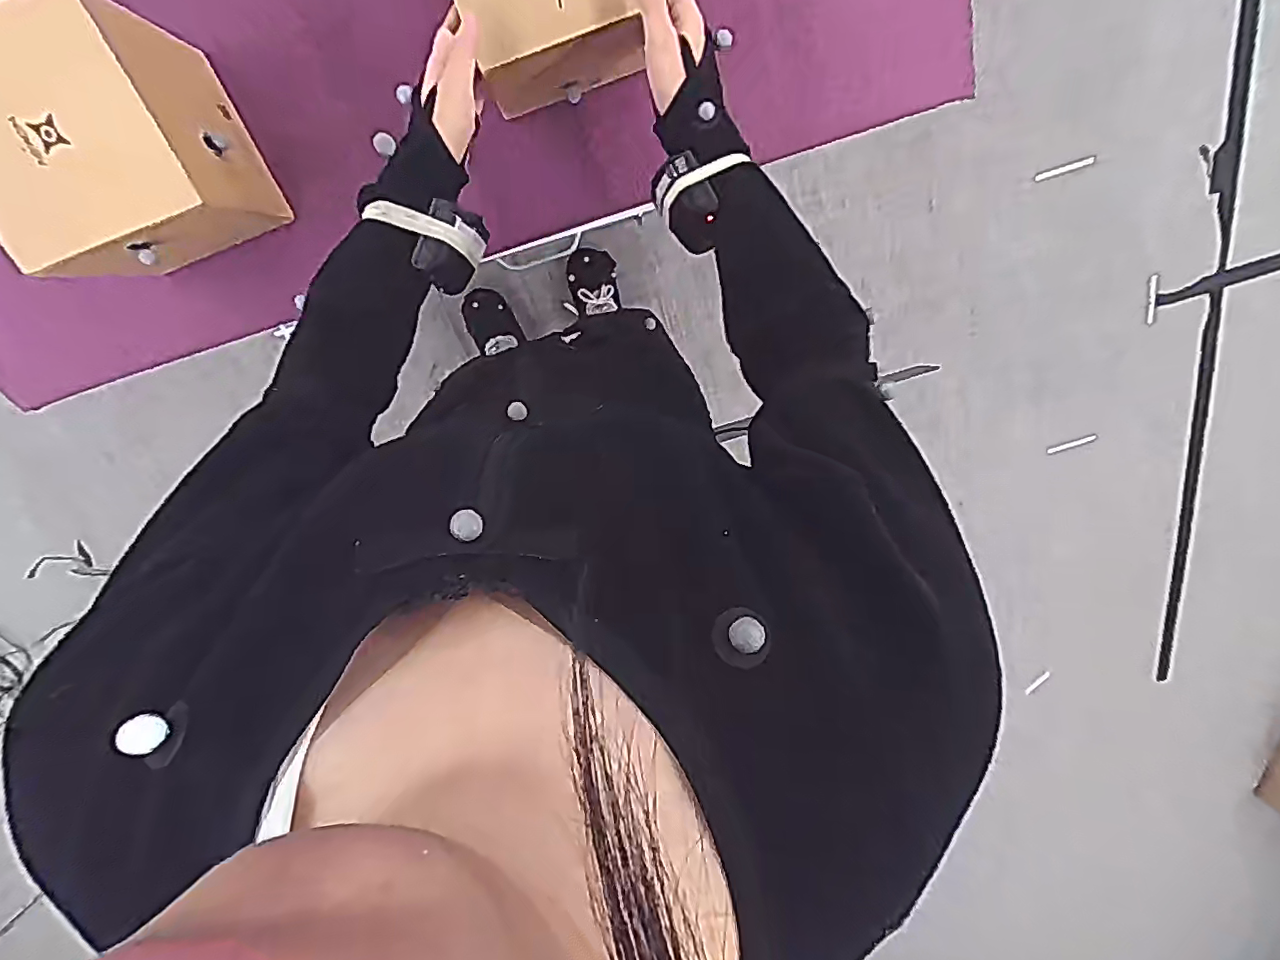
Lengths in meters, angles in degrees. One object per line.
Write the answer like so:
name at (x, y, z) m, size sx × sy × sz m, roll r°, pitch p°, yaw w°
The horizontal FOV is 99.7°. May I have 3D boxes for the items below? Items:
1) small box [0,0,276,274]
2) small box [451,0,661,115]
small box at (-0.488, -0.308, 0.508) m, size 0.179 × 0.176 × 0.168 m, roll -20°, pitch 113°, yaw 3°
small box at (-0.092, -0.467, 0.485) m, size 0.168 × 0.176 × 0.179 m, roll -18°, pitch 114°, yaw 2°
